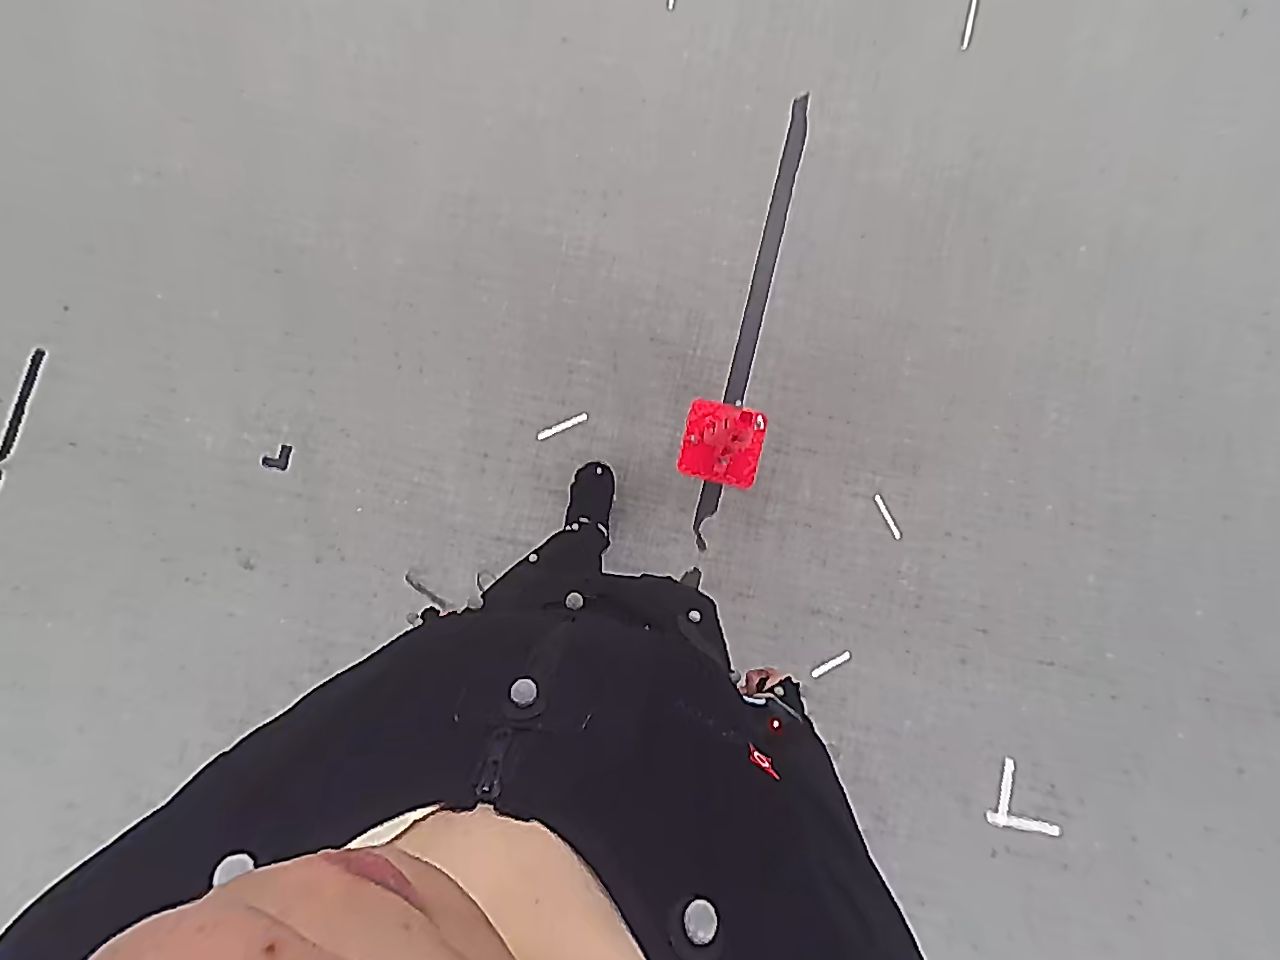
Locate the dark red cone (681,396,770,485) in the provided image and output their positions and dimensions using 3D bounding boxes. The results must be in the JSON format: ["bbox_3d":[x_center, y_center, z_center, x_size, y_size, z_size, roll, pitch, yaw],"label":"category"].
[{"bbox_3d":[0.205,-0.107,1.188,0.201,0.394,0.202,12,87,3],"label":"dark red cone"}]
